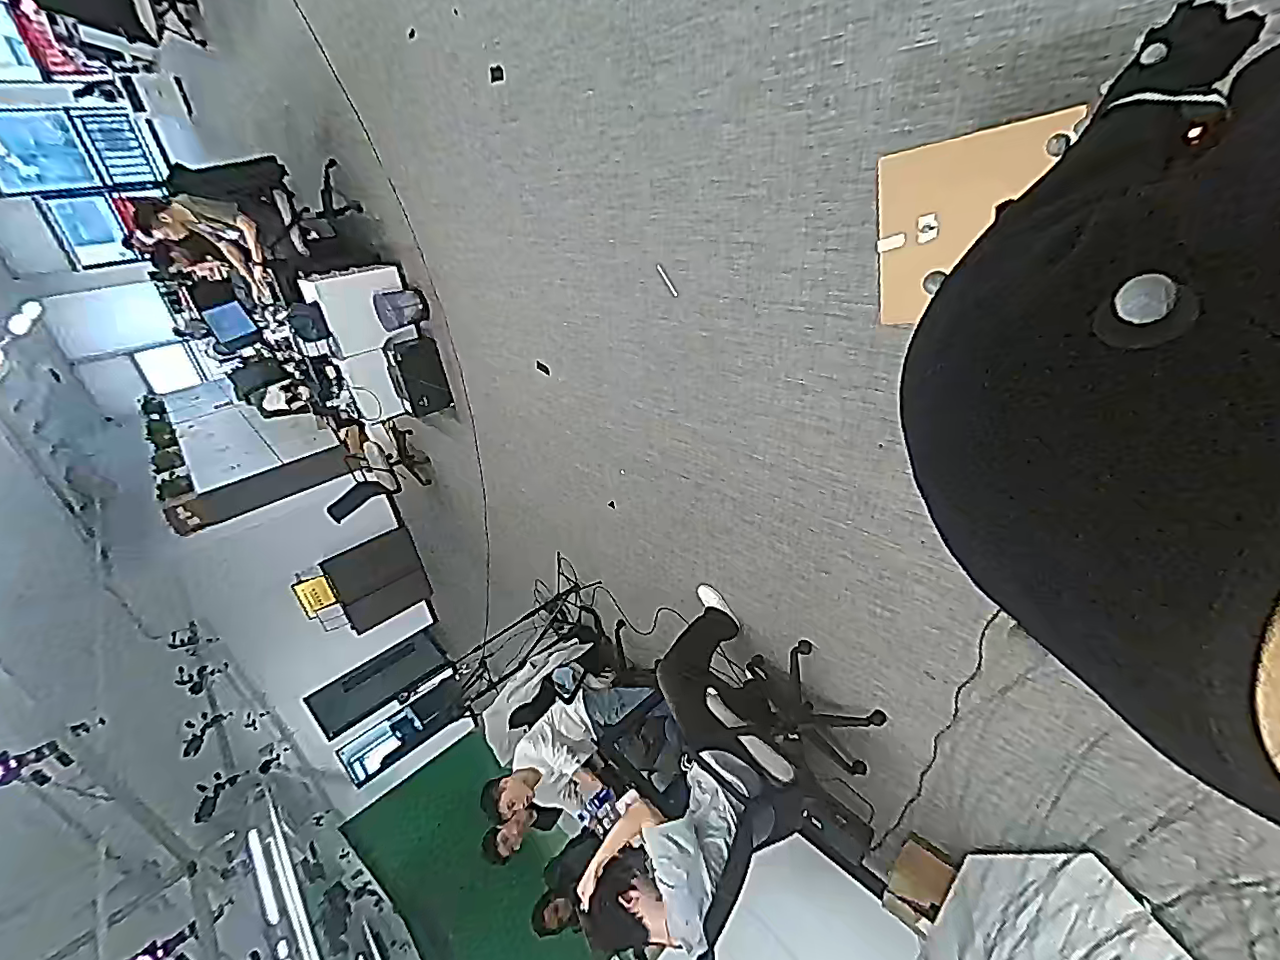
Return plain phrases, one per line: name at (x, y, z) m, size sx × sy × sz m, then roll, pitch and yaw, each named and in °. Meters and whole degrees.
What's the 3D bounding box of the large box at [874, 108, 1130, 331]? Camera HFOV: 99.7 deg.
large box at (0.709, -0.504, 1.074) m, size 0.320 × 0.408 × 0.320 m, roll 16°, pitch 127°, yaw 46°
